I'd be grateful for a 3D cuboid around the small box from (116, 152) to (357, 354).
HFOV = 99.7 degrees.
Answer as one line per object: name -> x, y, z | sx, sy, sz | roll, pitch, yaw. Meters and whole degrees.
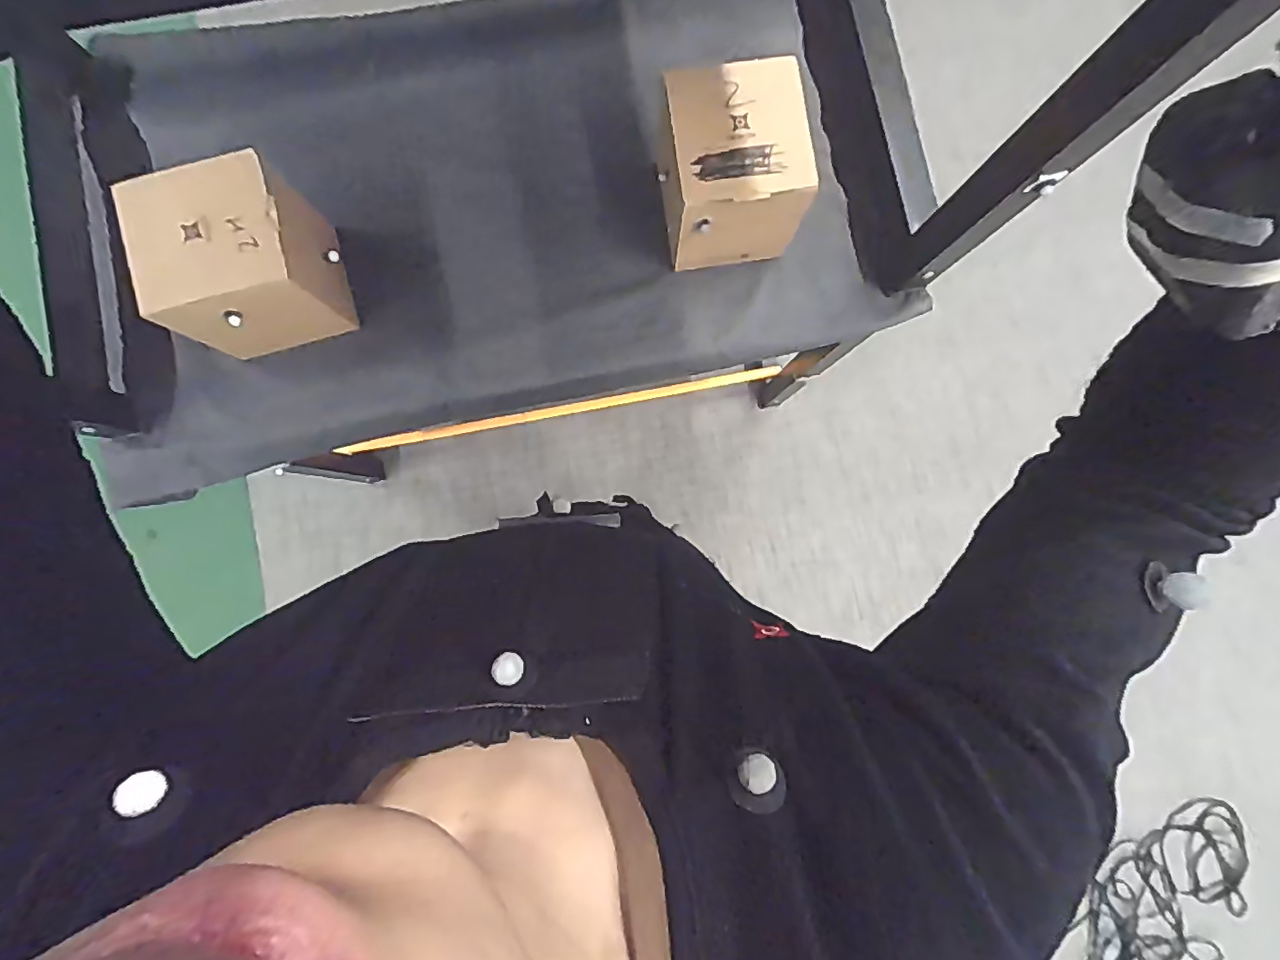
small box -> -0.512, -0.282, 0.710 | 0.179, 0.176, 0.168 | -15, 86, -3
